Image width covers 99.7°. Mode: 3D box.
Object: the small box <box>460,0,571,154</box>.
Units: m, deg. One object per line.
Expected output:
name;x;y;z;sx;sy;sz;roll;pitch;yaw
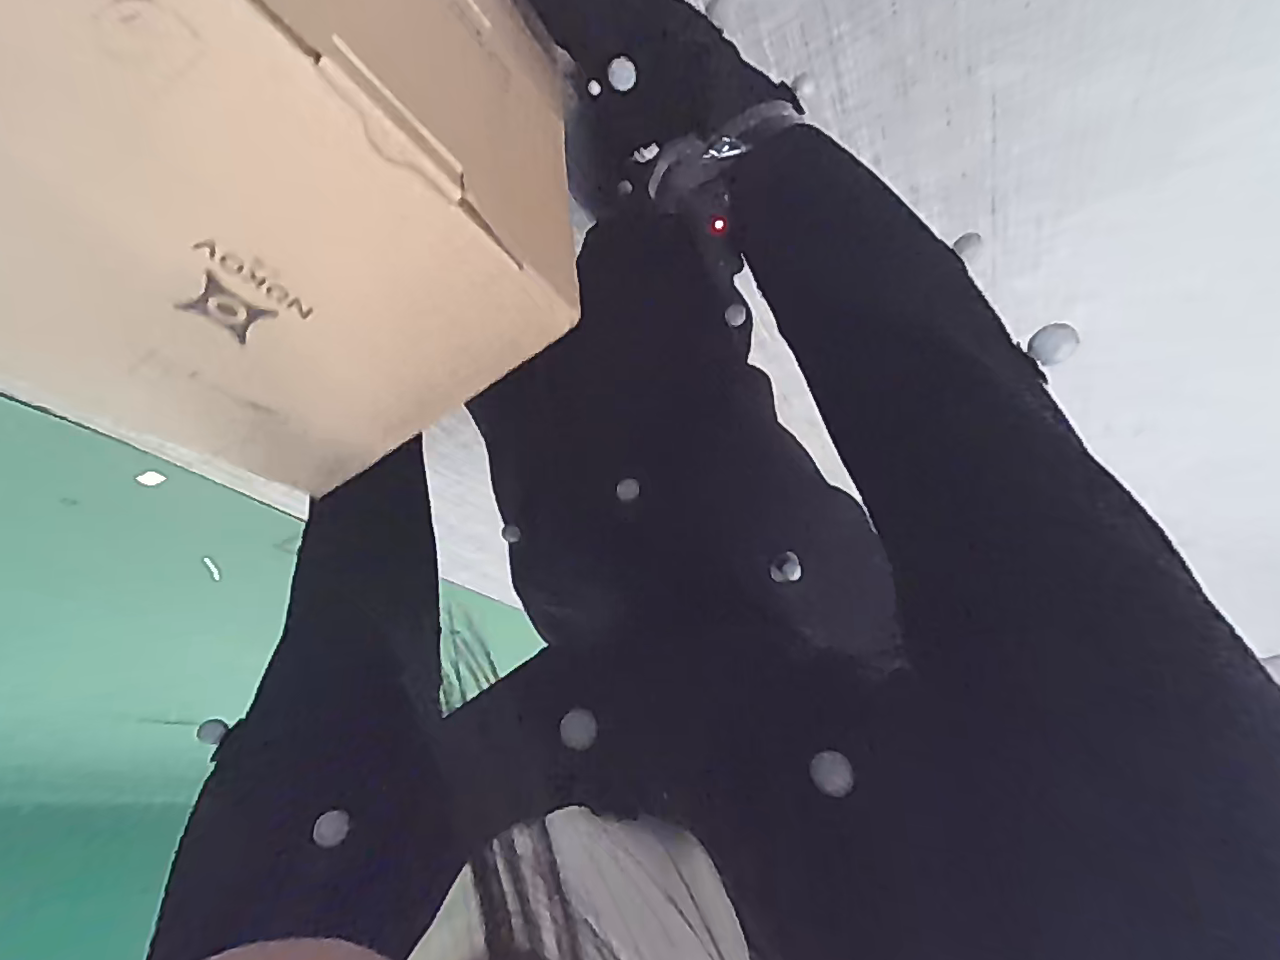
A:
small box;-0.164;-0.259;0.335;0.179;0.176;0.168;-26;140;23

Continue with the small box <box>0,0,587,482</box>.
small box;-0.144;-0.132;0.239;0.179;0.176;0.168;-26;141;25
